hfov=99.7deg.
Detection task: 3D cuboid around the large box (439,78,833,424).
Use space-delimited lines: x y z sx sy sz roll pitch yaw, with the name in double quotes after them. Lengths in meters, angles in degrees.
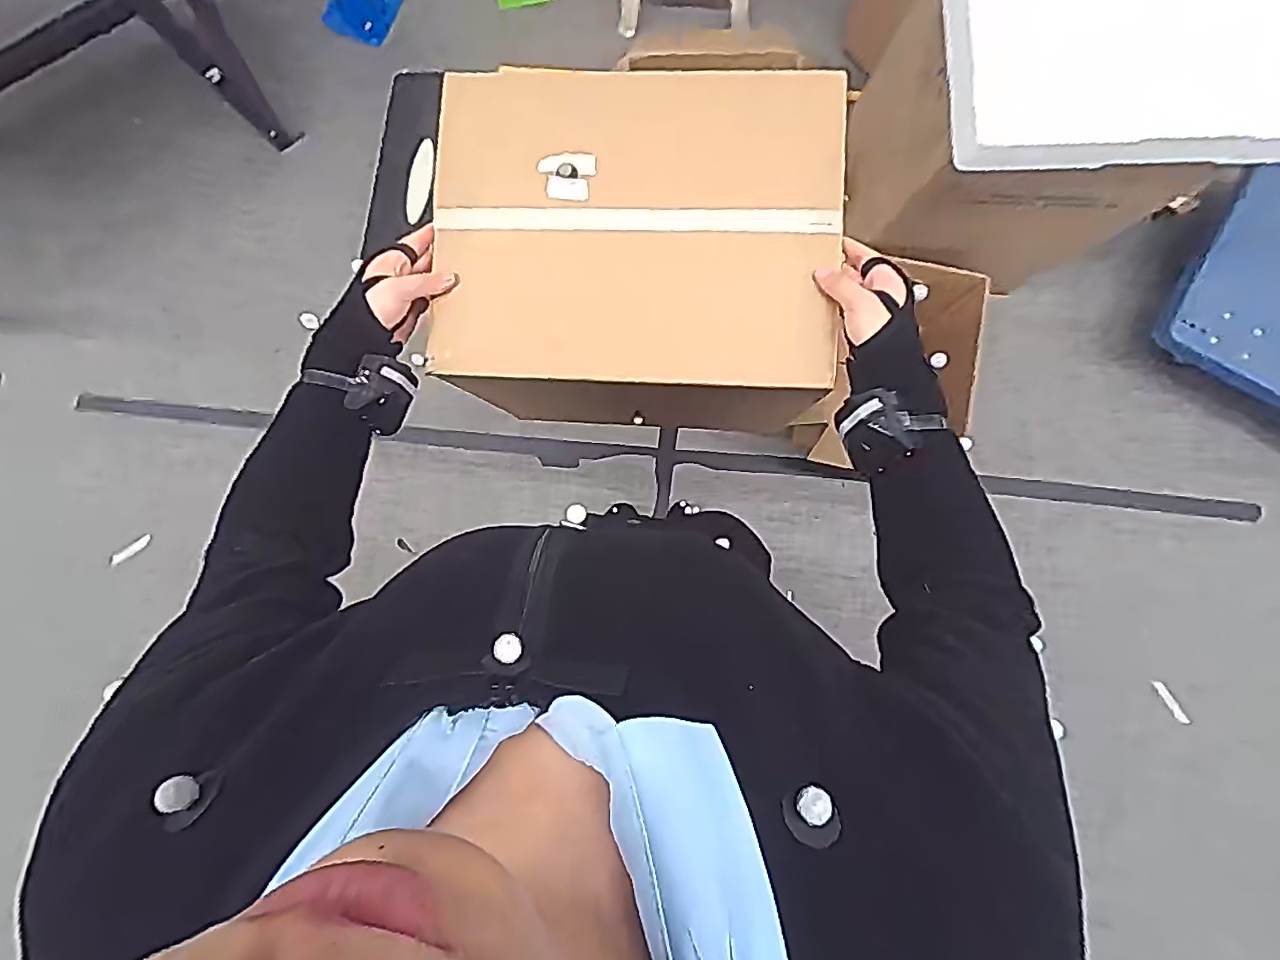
0.006 -0.244 0.695 0.408 0.320 0.320 1 86 5 "large box"
